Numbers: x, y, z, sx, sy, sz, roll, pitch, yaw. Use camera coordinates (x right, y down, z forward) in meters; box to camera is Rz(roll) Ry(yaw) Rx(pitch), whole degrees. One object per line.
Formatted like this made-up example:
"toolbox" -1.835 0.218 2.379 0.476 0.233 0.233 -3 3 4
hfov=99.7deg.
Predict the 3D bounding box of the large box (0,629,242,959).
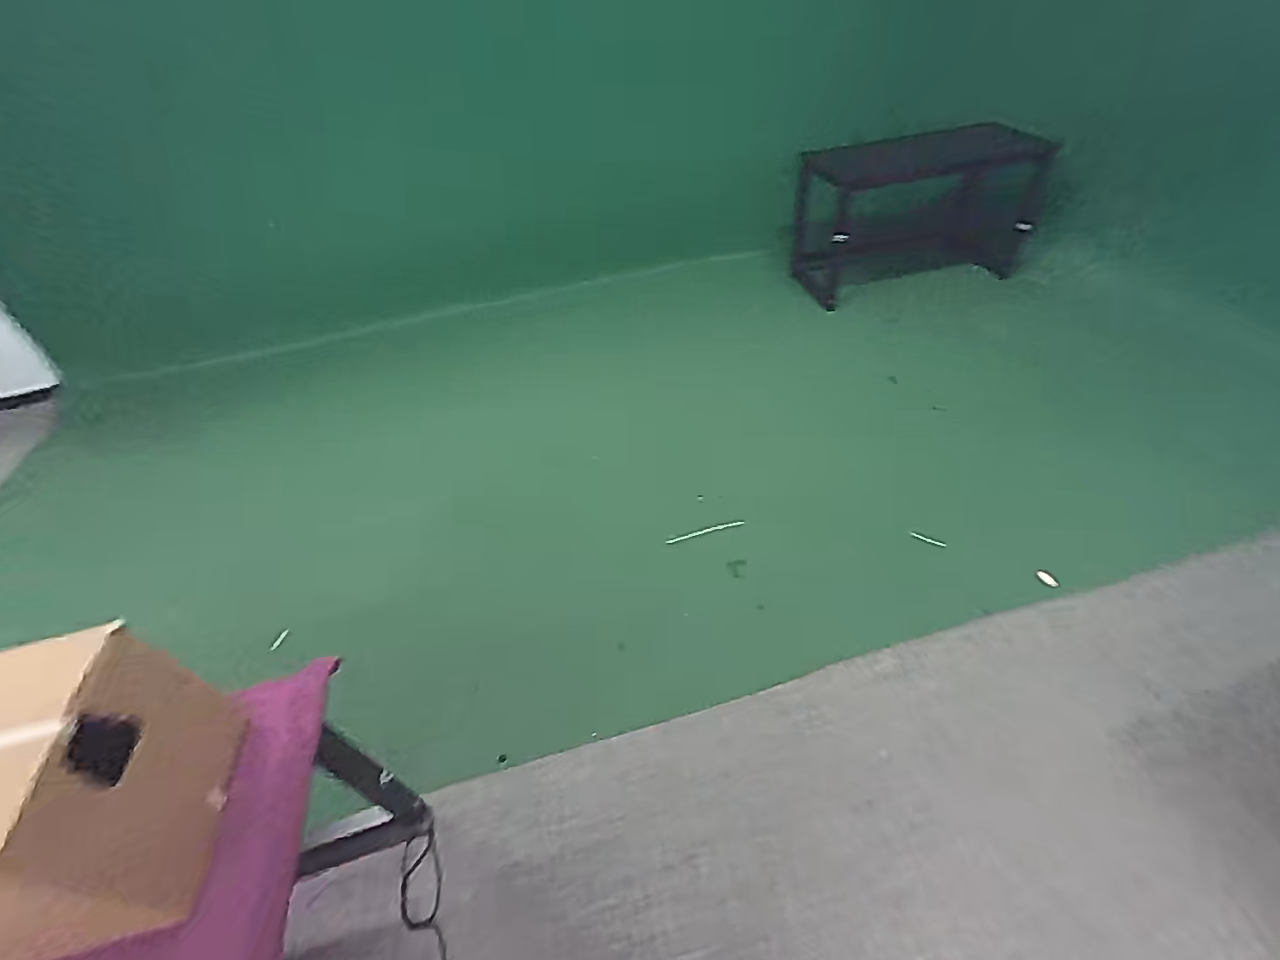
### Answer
"large box" -0.874 0.467 0.737 0.408 0.320 0.320 -14 45 -8
